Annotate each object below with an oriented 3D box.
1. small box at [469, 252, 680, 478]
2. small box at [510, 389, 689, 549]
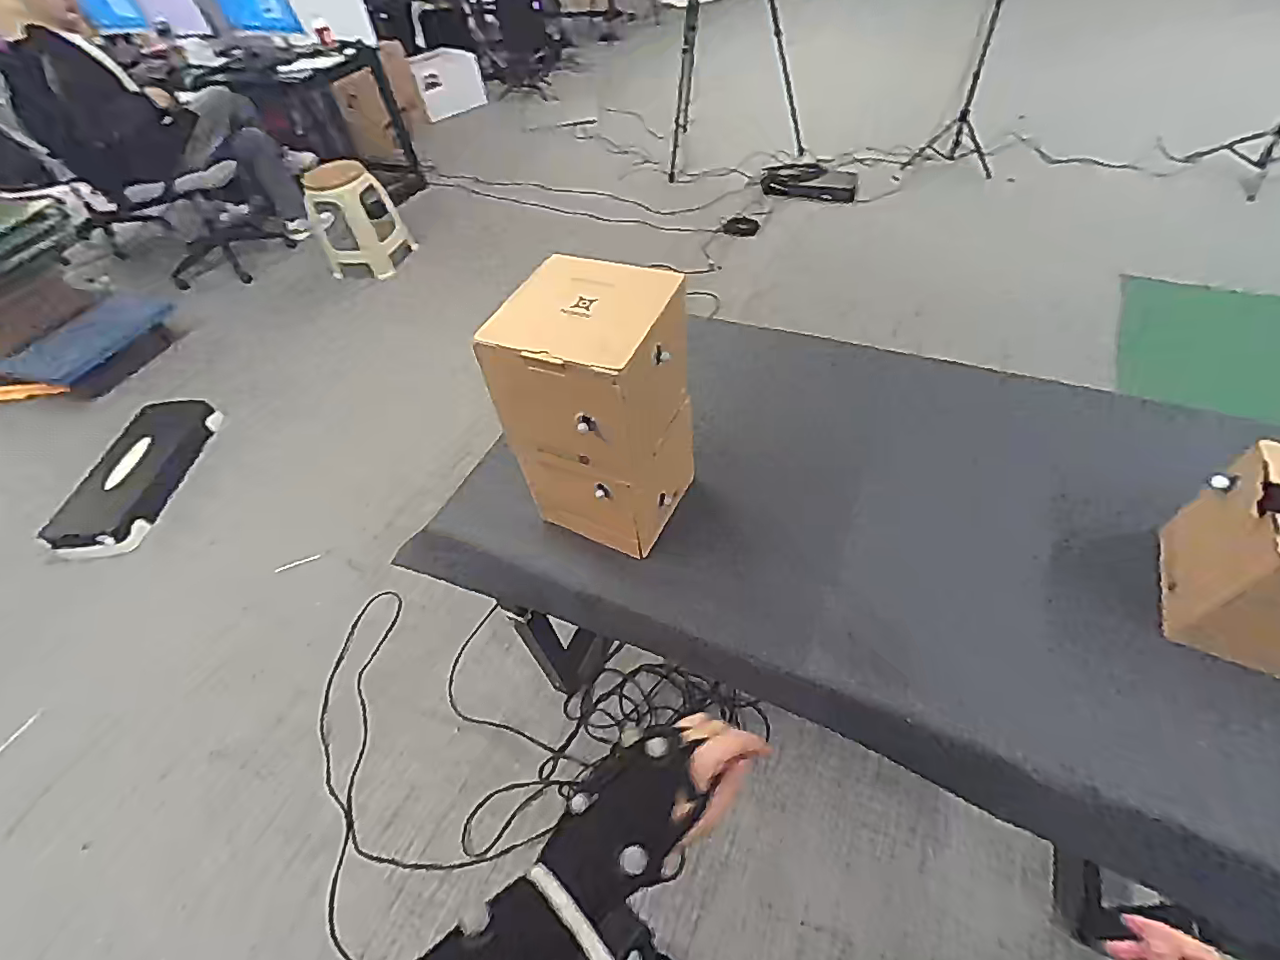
[{"bbox_3d":[-0.057,-0.129,0.614,0.168,0.176,0.179,16,53,17],"label":"small box"},{"bbox_3d":[-0.045,-0.031,0.744,0.179,0.176,0.168,20,55,21],"label":"small box"}]
